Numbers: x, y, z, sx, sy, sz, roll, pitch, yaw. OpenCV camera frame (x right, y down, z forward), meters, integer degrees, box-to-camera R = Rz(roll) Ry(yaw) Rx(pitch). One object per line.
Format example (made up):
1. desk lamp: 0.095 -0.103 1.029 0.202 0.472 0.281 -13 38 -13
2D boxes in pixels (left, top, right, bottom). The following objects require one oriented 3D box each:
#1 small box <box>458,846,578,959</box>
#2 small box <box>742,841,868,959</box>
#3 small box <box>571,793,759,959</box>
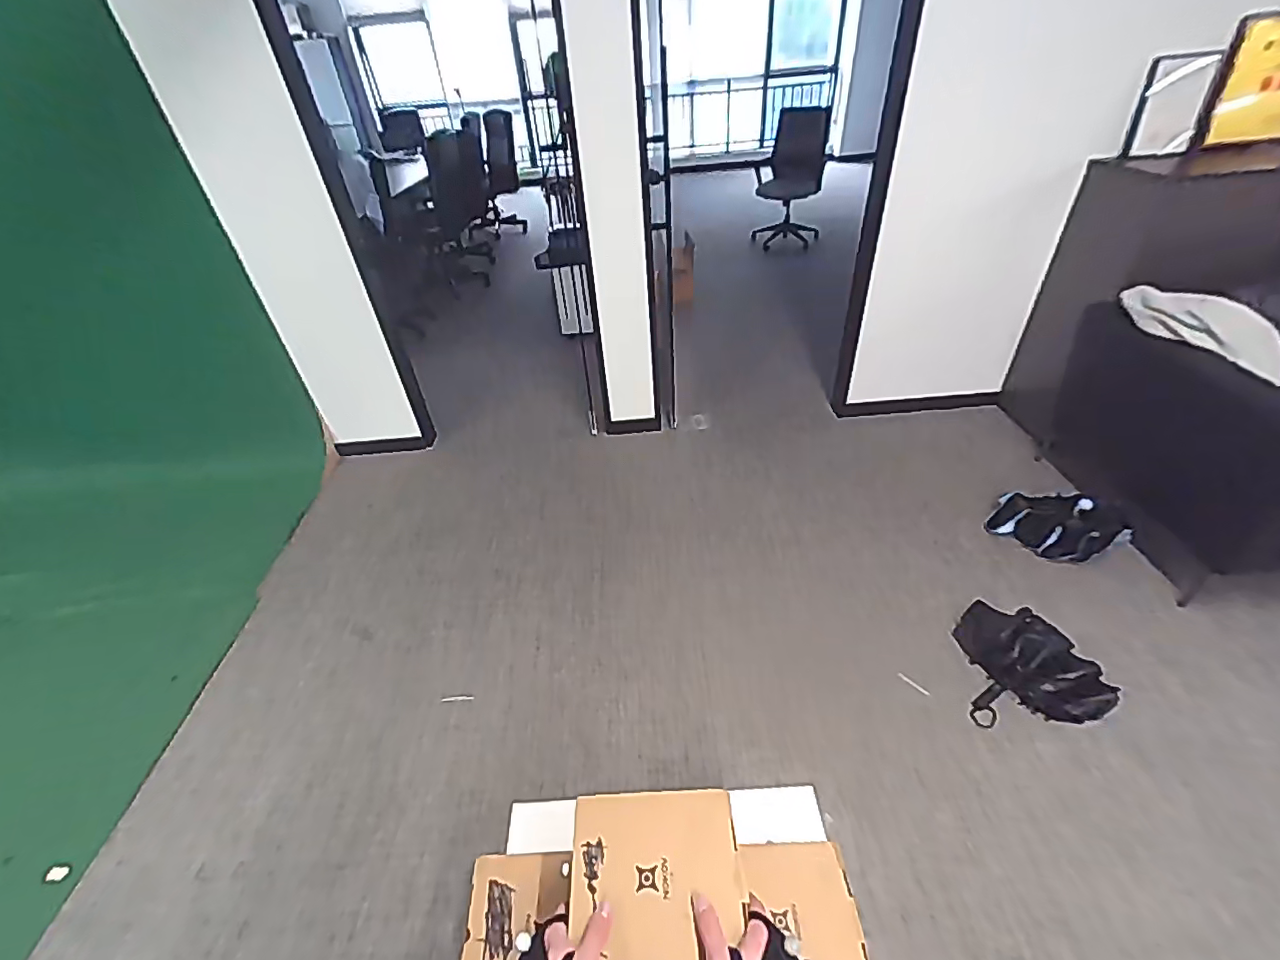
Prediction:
1. small box: -0.124 0.597 0.697 0.179 0.176 0.168 -1 40 -1
2. small box: 0.176 0.585 0.695 0.179 0.176 0.168 -3 39 2
3. small box: 0.023 0.465 0.596 0.179 0.176 0.168 -2 40 0
